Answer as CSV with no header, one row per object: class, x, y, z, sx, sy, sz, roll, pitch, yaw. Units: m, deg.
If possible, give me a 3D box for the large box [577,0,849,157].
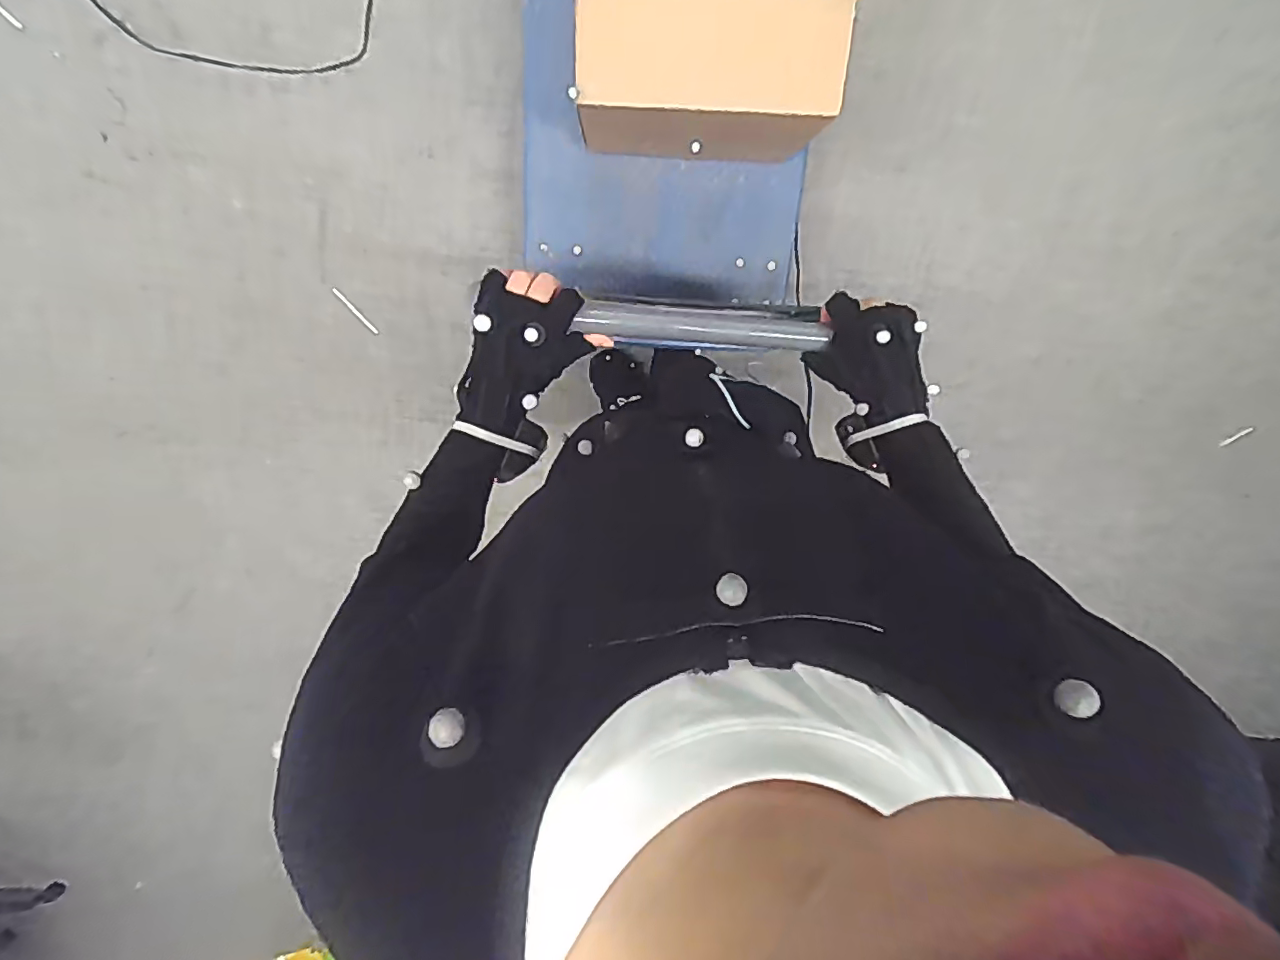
large box,0.107,-0.759,0.918,0.408,0.320,0.320,1,108,-2
